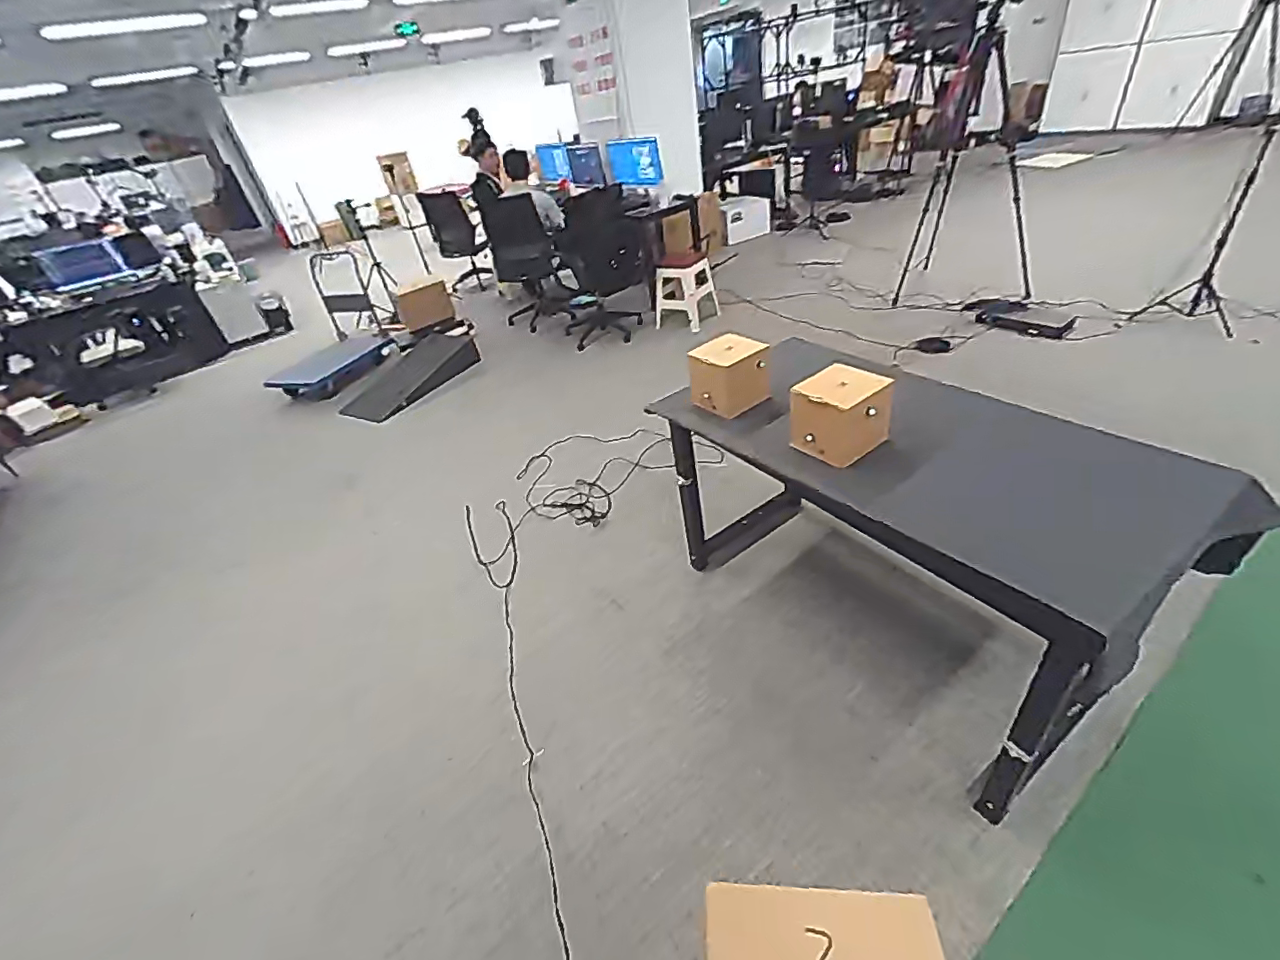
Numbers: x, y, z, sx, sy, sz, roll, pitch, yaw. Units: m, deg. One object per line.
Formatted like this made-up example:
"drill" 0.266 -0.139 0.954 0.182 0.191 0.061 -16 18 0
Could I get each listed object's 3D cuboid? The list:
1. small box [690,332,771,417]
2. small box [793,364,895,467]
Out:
"small box" 0.266 -0.311 1.590 0.179 0.176 0.168 -29 40 -24
"small box" 0.493 -0.160 1.334 0.179 0.176 0.168 -29 40 -23
